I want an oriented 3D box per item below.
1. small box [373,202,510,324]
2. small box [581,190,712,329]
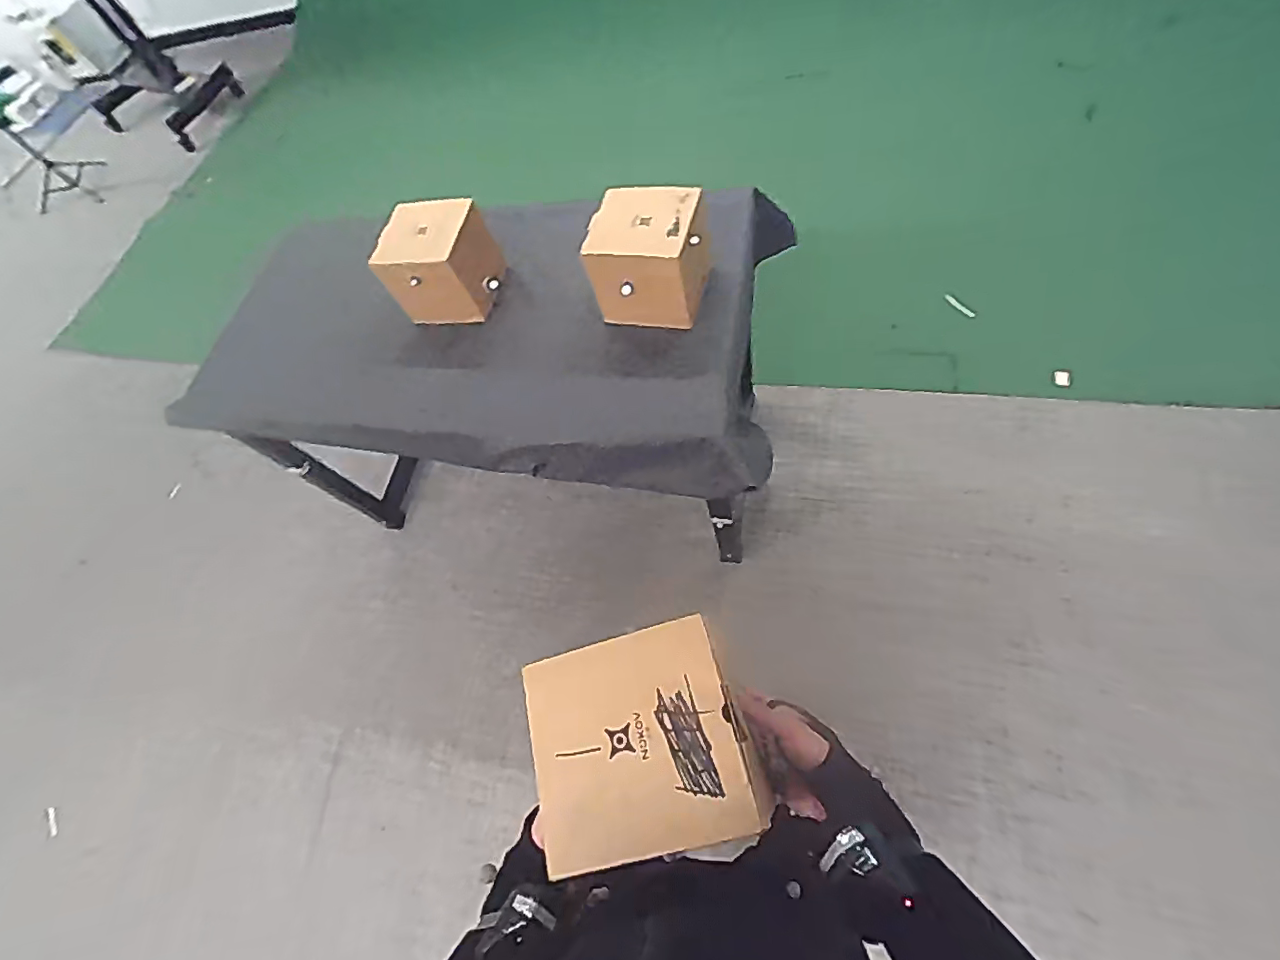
[{"bbox_3d":[-0.395,-0.435,1.103,0.179,0.176,0.168,4,66,14],"label":"small box"},{"bbox_3d":[0.021,-0.394,0.978,0.179,0.176,0.168,10,67,19],"label":"small box"}]
